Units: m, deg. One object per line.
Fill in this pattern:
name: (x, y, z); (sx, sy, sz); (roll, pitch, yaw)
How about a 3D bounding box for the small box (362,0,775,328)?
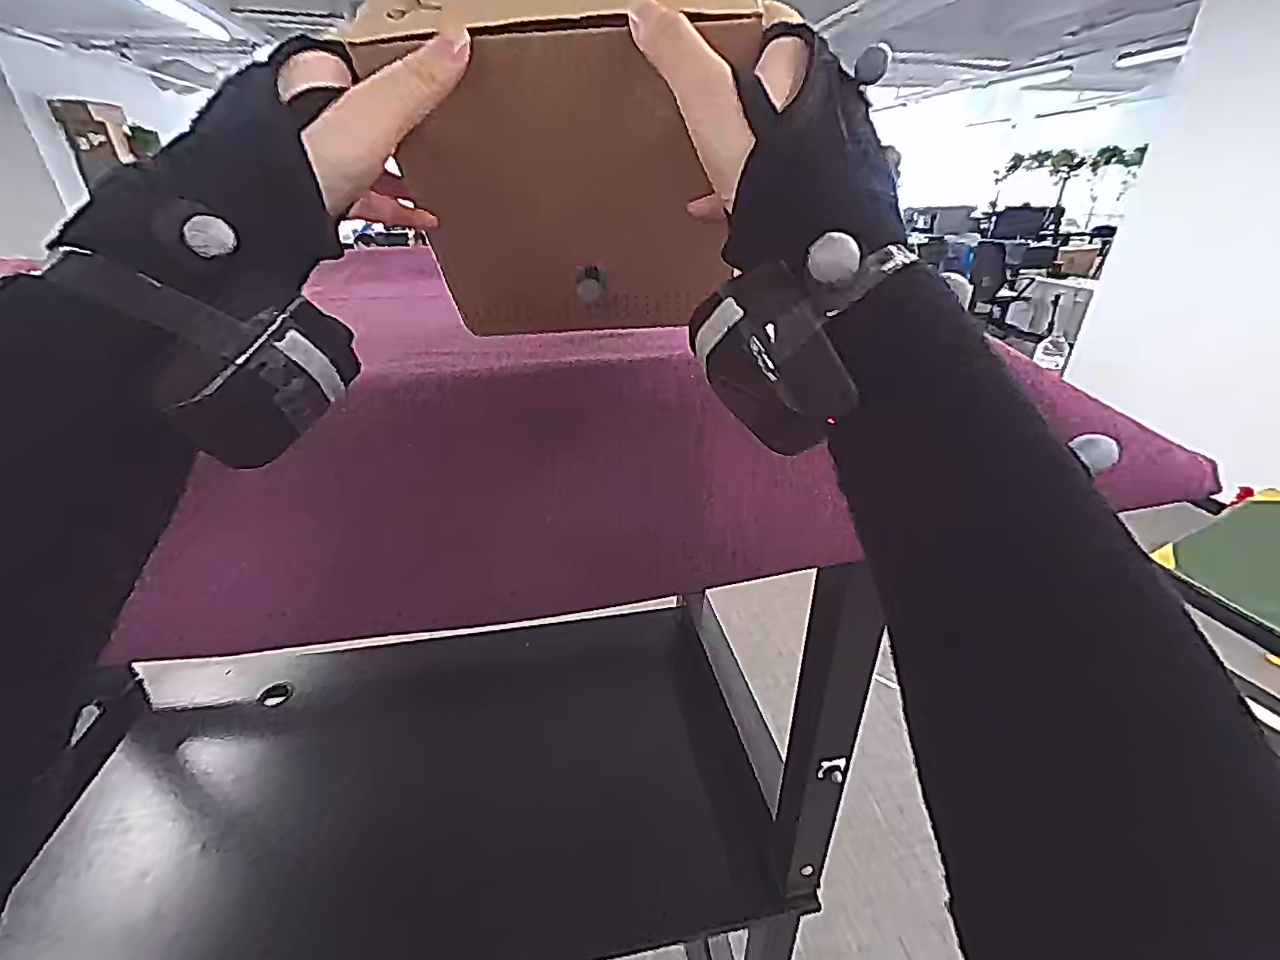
small box: (-0.029, -0.213, 0.334); (0.179, 0.176, 0.168); (-2, 56, 1)
